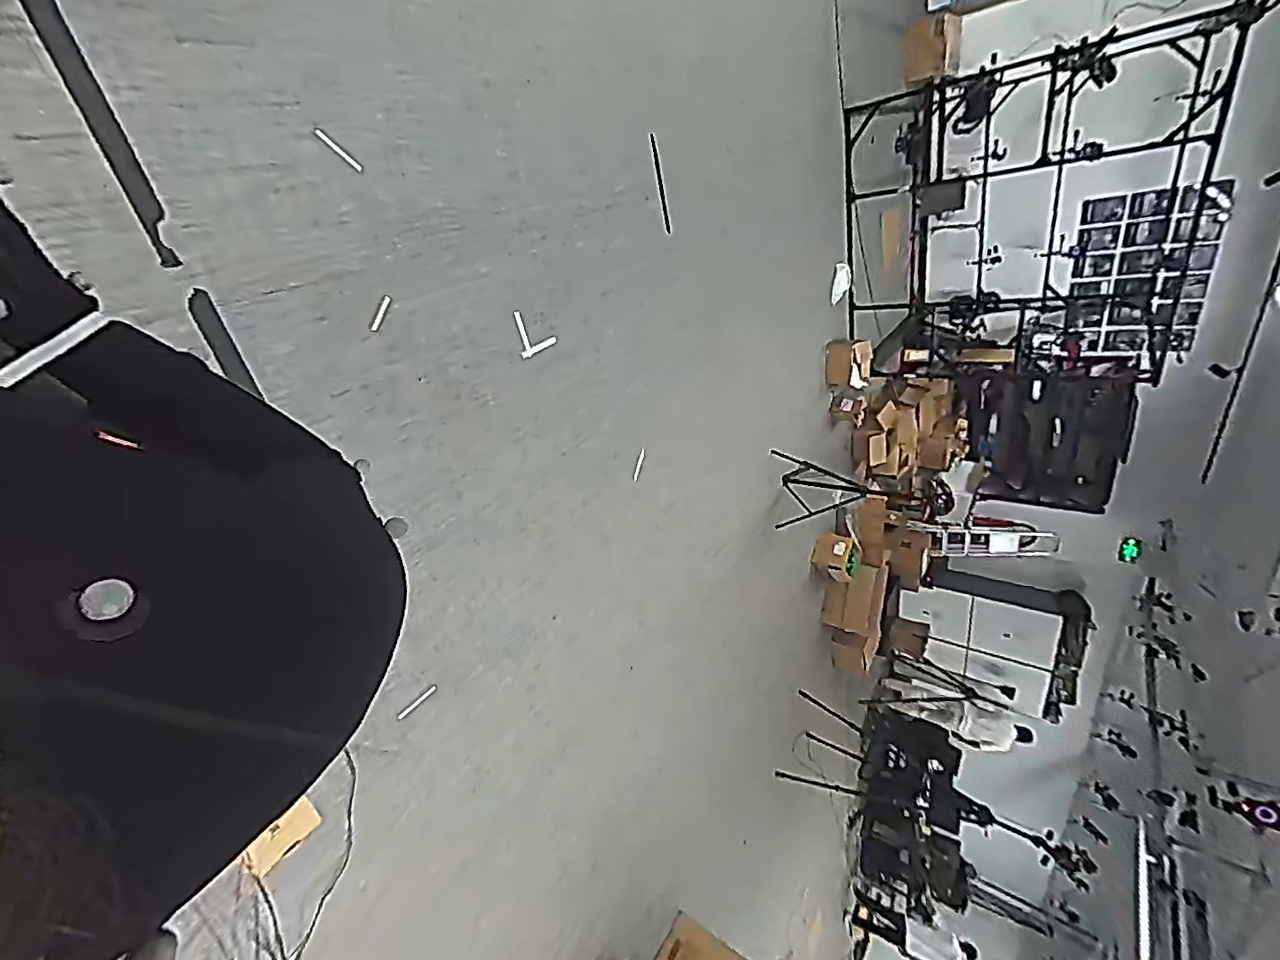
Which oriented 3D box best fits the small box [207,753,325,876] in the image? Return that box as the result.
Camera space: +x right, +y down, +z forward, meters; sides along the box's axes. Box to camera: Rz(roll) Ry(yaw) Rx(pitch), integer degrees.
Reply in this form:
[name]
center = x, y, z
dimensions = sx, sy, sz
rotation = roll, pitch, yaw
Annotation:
[small box]
center = -0.946, 0.835, 1.370
dimensions = 0.168, 0.176, 0.179
rotation = -38, 126, -43
